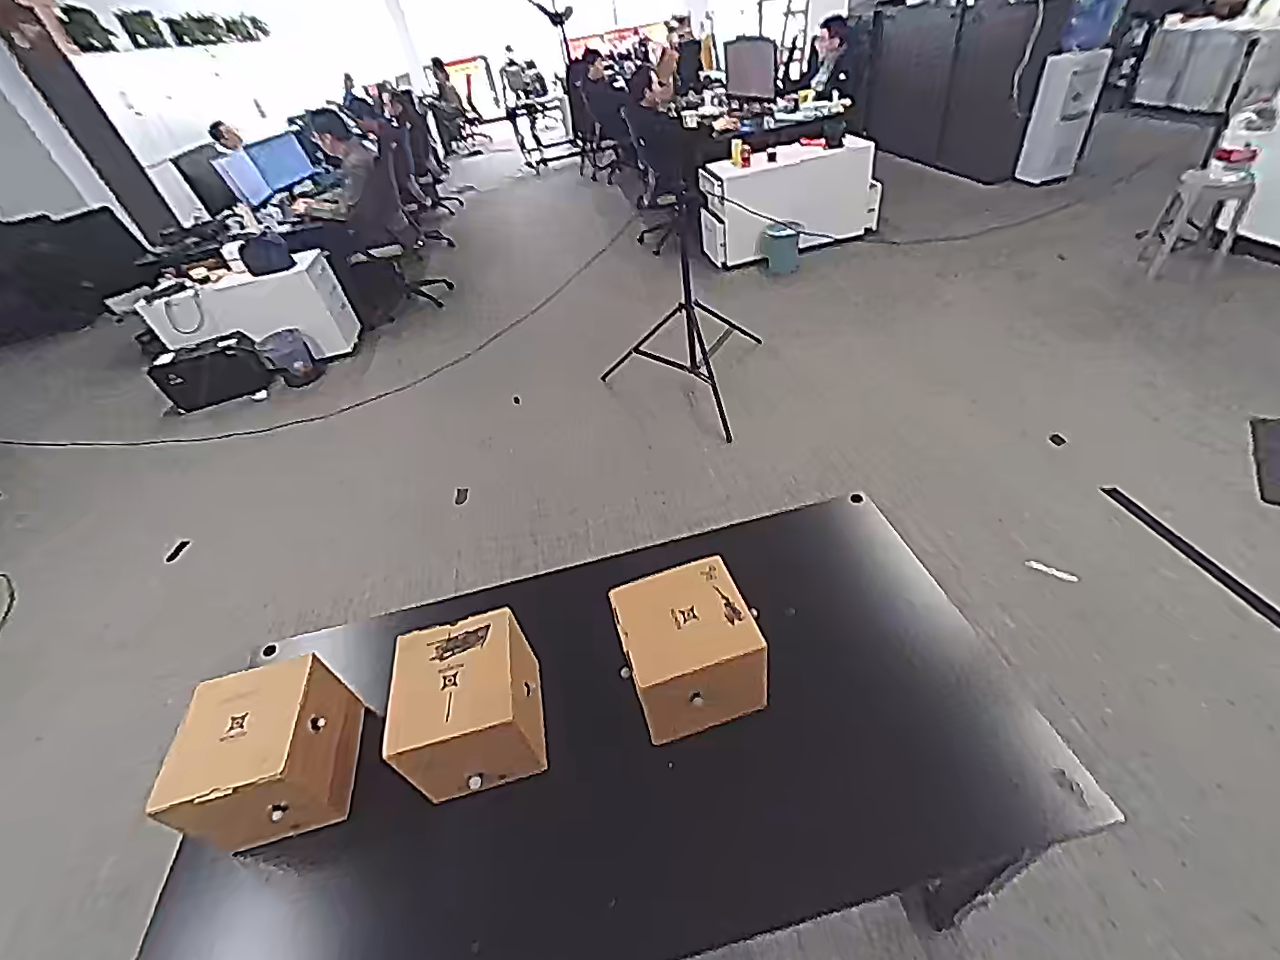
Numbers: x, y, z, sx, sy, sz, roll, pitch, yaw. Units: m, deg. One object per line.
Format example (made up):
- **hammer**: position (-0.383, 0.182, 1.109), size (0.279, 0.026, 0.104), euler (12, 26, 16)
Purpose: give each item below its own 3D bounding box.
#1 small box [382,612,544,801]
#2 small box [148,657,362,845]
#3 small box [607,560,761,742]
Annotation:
- **small box**: position (-0.243, 0.326, 0.781), size (0.168, 0.176, 0.179), euler (-15, 42, -4)
- **small box**: position (-0.523, 0.390, 0.771), size (0.168, 0.176, 0.179), euler (-14, 40, -6)
- **small box**: position (0.066, 0.253, 0.795), size (0.179, 0.176, 0.168), euler (-17, 41, -6)
